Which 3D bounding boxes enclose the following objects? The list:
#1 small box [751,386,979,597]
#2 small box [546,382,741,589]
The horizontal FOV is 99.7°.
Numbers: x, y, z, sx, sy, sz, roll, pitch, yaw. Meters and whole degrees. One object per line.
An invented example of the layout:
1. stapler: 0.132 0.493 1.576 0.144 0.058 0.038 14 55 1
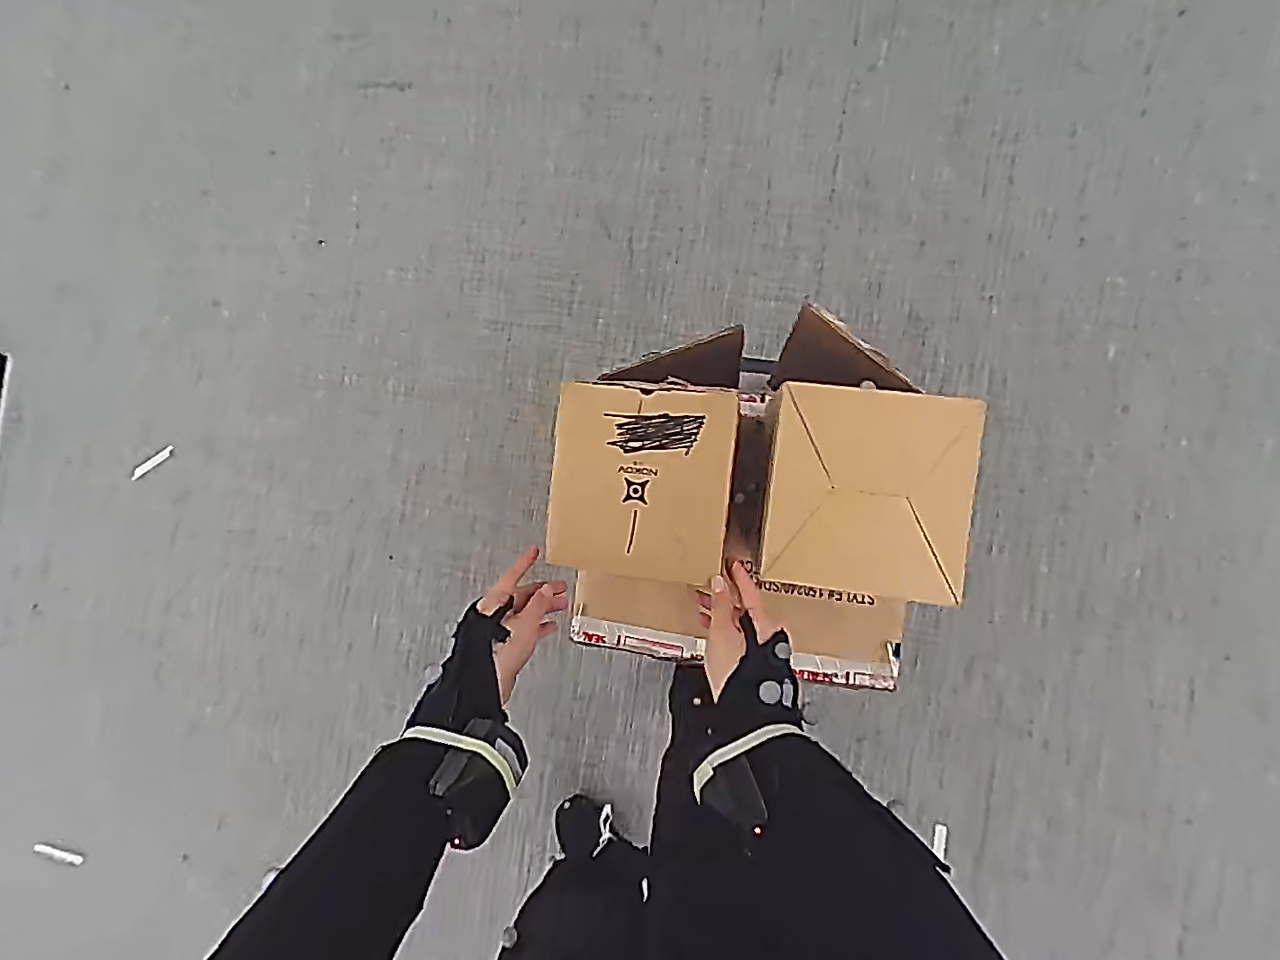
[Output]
1. small box: 0.206 0.012 0.539 0.168 0.176 0.179 7 91 6
2. small box: 0.014 0.002 0.573 0.168 0.176 0.179 6 92 11
